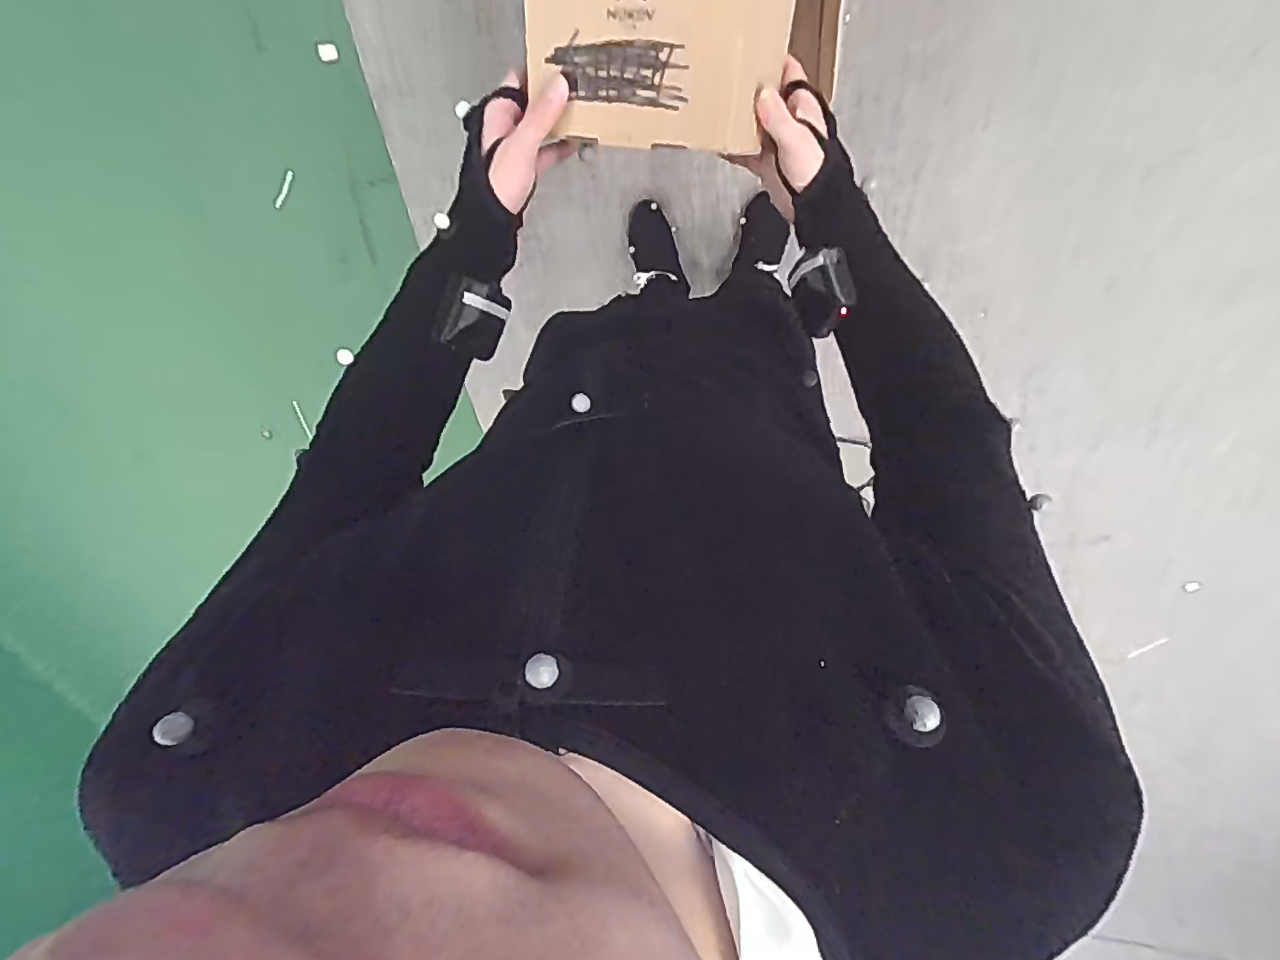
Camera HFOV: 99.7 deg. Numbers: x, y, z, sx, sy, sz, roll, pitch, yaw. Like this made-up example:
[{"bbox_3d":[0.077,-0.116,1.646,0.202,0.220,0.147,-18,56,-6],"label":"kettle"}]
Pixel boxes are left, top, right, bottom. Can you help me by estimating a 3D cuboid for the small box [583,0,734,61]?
[{"bbox_3d":[0.029,-0.607,0.633,0.168,0.176,0.179,4,121,7],"label":"small box"}]
